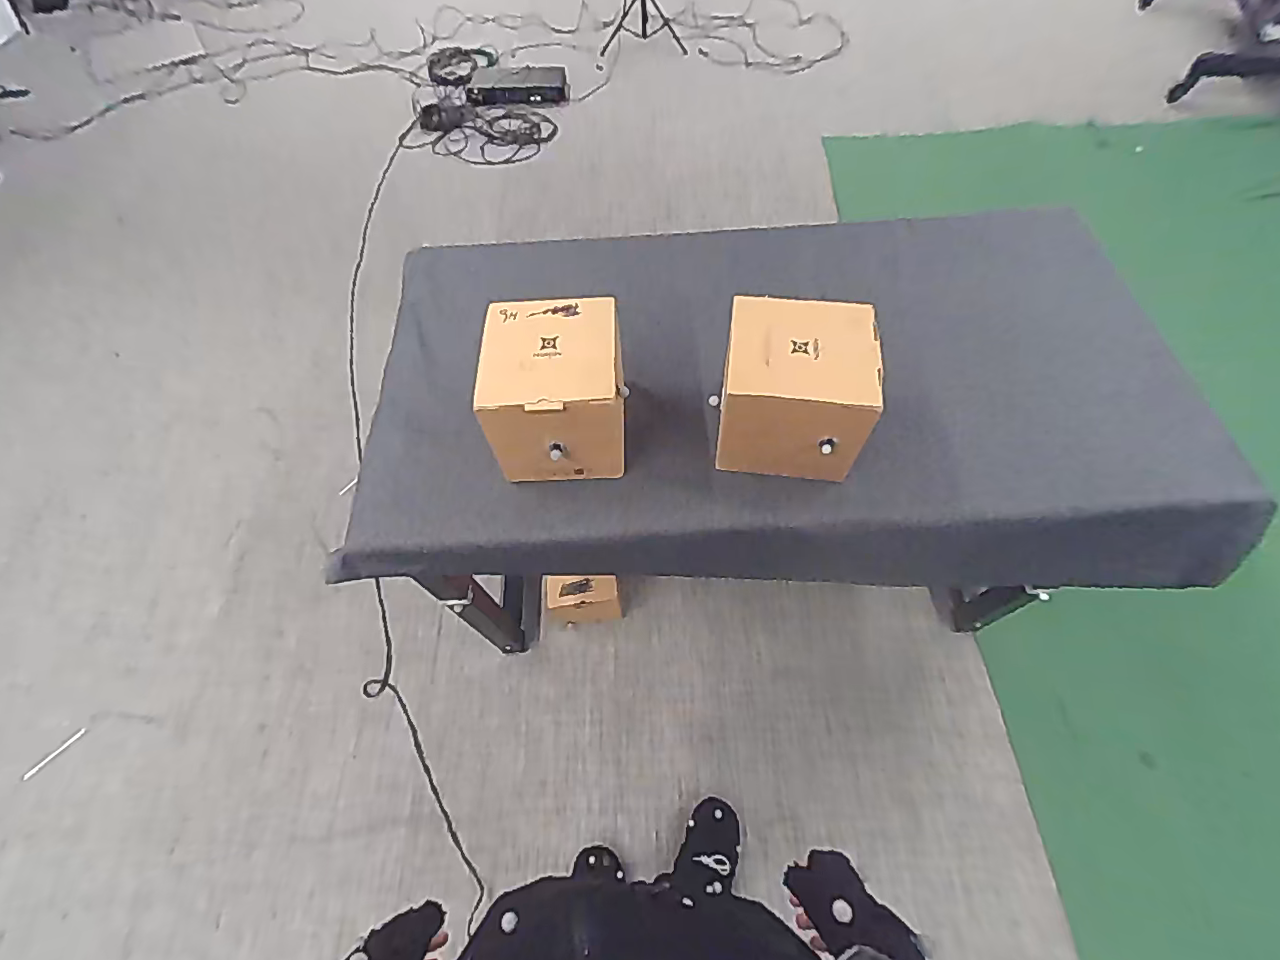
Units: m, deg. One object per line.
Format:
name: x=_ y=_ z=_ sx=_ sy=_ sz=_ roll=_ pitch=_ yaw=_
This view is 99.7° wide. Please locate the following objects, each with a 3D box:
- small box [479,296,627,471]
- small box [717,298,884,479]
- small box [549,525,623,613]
small box: x=-0.103 y=-0.121 z=0.730 sx=0.168 sy=0.176 sz=0.179 roll=-1 pitch=60 yaw=1
small box: x=0.202 y=-0.115 z=0.717 sx=0.179 sy=0.176 sz=0.168 roll=6 pitch=60 yaw=7
small box: x=-0.134 y=0.233 z=1.371 sx=0.168 sy=0.176 sz=0.179 roll=-5 pitch=61 yaw=-1
